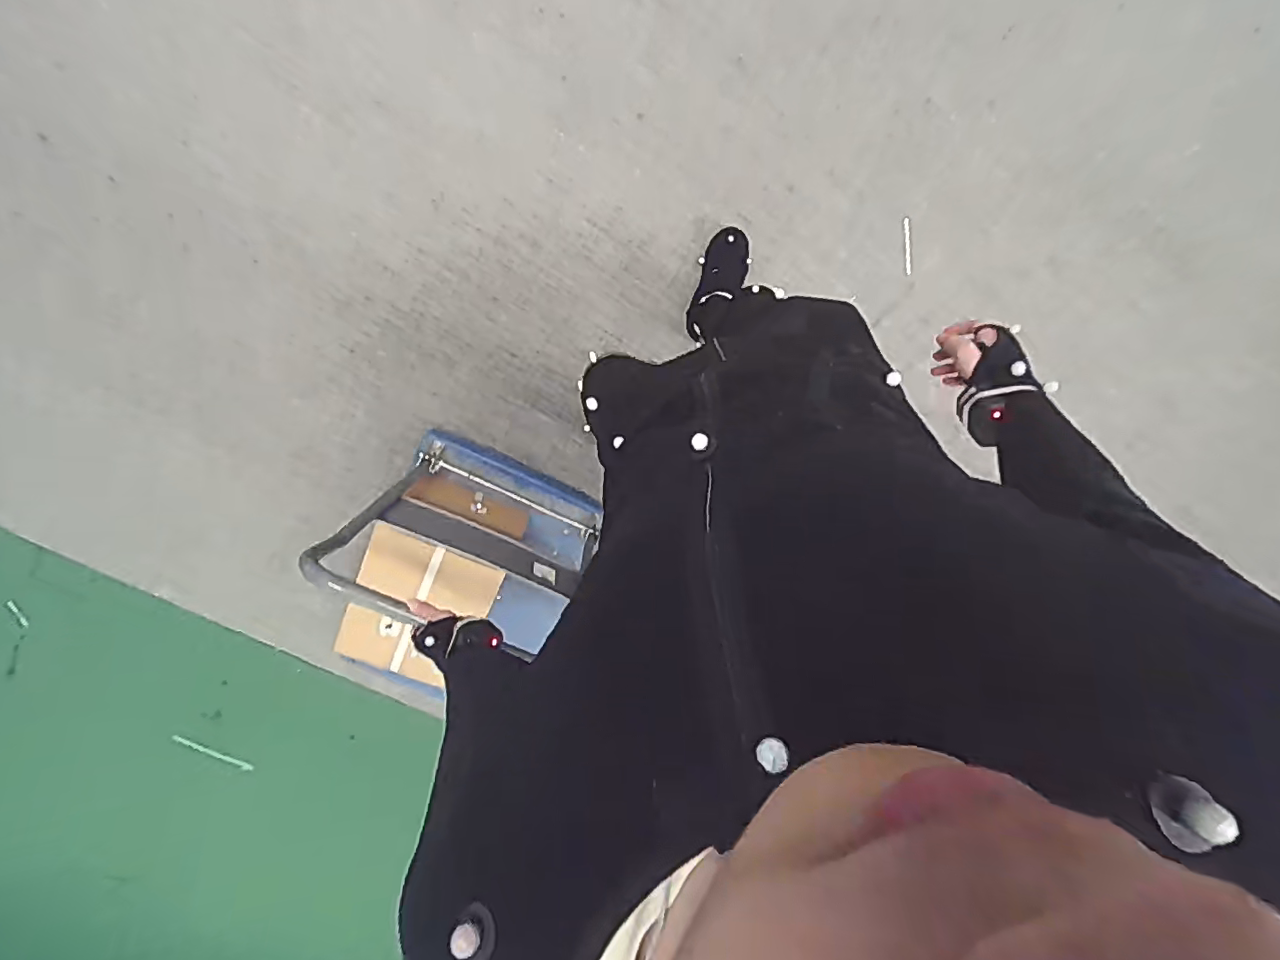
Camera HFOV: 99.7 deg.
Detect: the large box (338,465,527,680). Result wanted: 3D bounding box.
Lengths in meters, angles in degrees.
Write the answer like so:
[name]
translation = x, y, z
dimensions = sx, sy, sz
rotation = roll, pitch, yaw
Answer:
[large box]
translation = -0.530, 0.235, 1.427
dimensions = 0.320, 0.320, 0.408
rotation = 24, 112, -10
